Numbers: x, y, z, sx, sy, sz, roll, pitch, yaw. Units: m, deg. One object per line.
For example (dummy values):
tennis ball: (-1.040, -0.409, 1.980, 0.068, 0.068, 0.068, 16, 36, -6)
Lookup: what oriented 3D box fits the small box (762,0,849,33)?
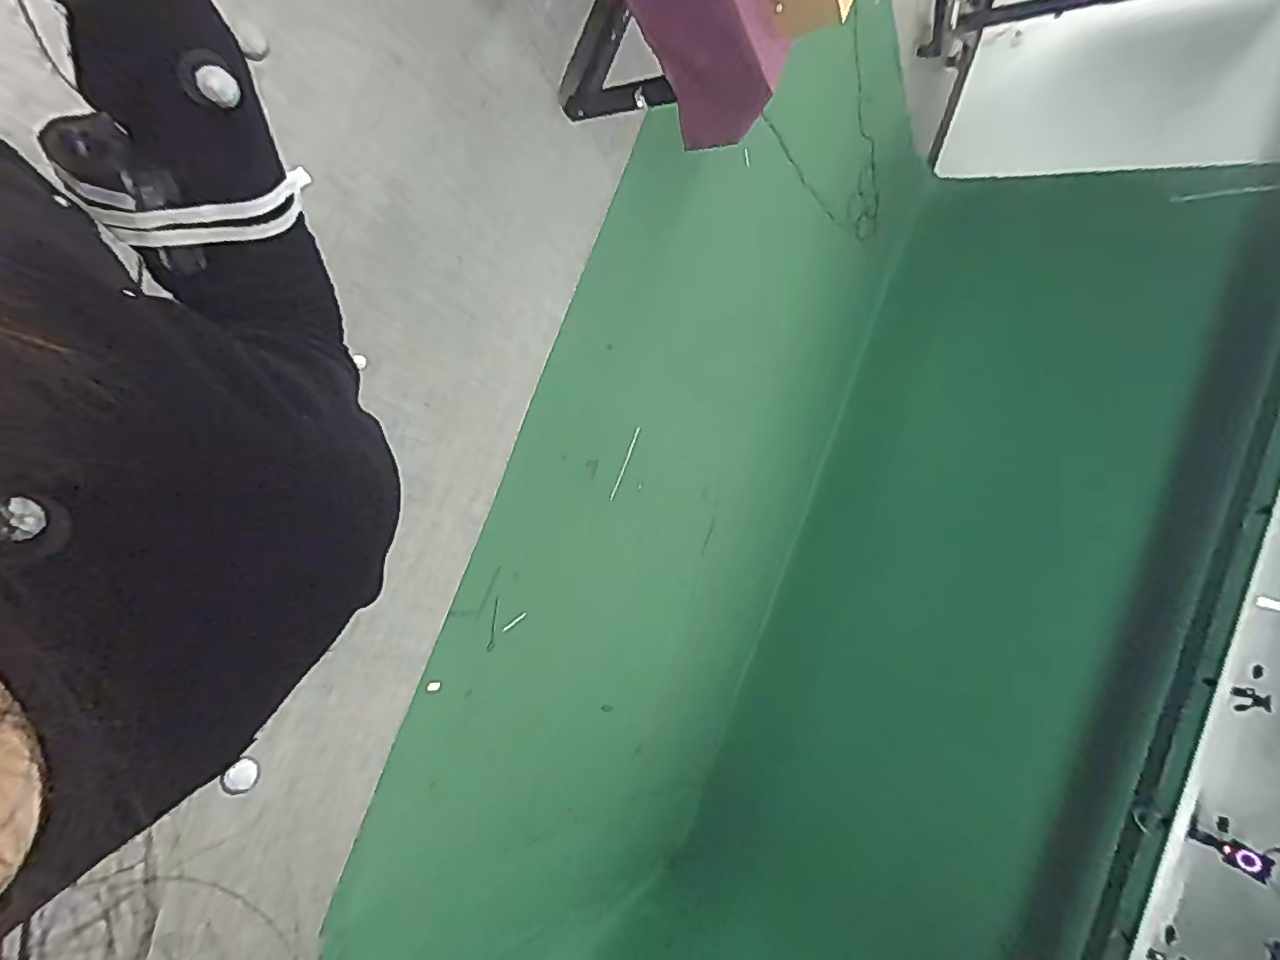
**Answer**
small box: (0.377, -1.154, 1.214, 0.179, 0.176, 0.168, 24, 85, -54)
